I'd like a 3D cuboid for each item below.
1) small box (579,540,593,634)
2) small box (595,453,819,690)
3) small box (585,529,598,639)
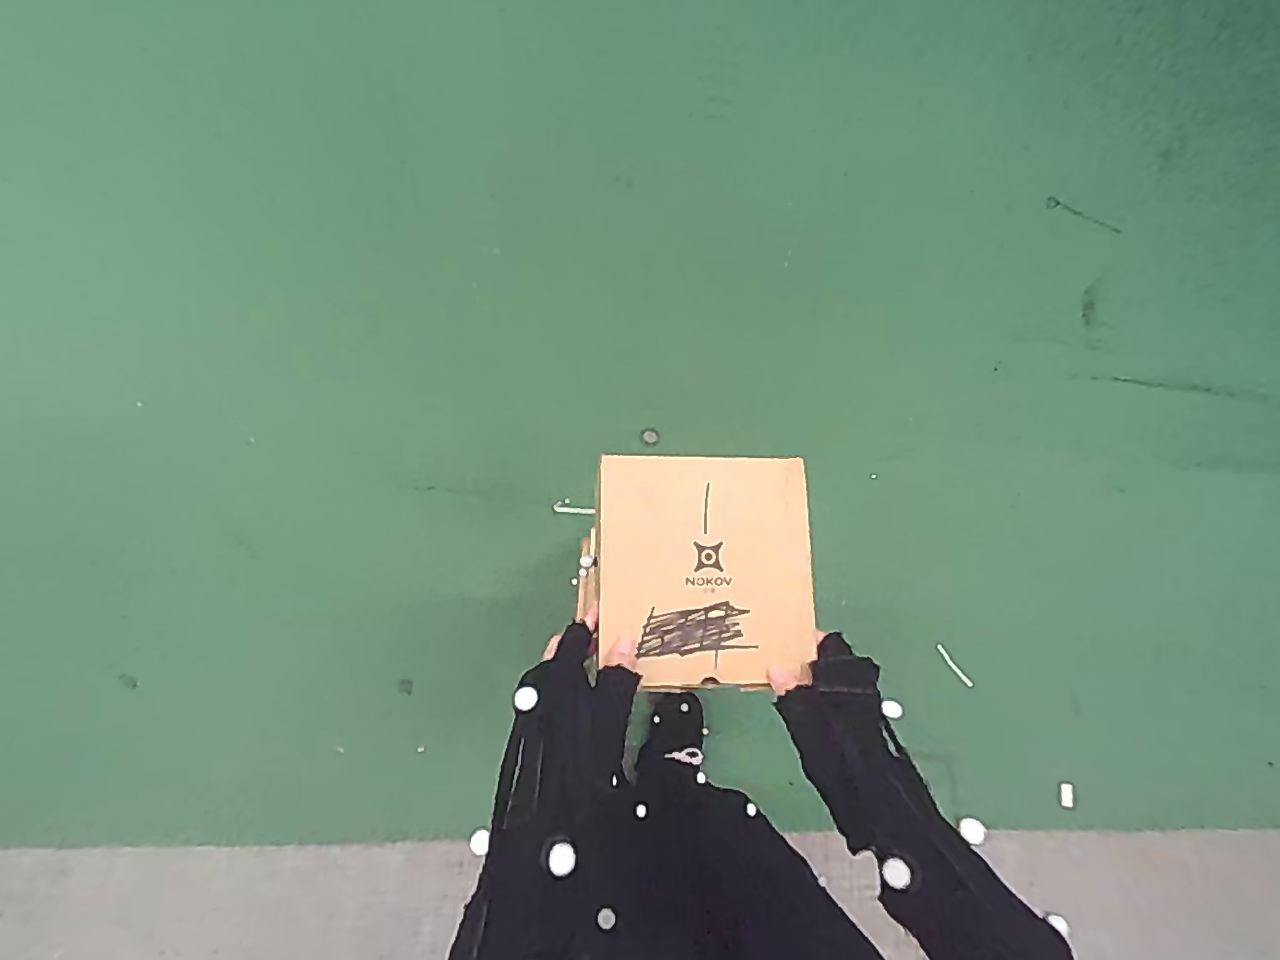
[{"bbox_3d":[-0.035,0.218,1.095,0.168,0.176,0.179,4,80,-6],"label":"small box"},{"bbox_3d":[0.044,0.080,0.485,0.168,0.176,0.179,0,78,-5],"label":"small box"},{"bbox_3d":[-0.006,0.183,0.937,0.168,0.176,0.179,4,78,-6],"label":"small box"}]
